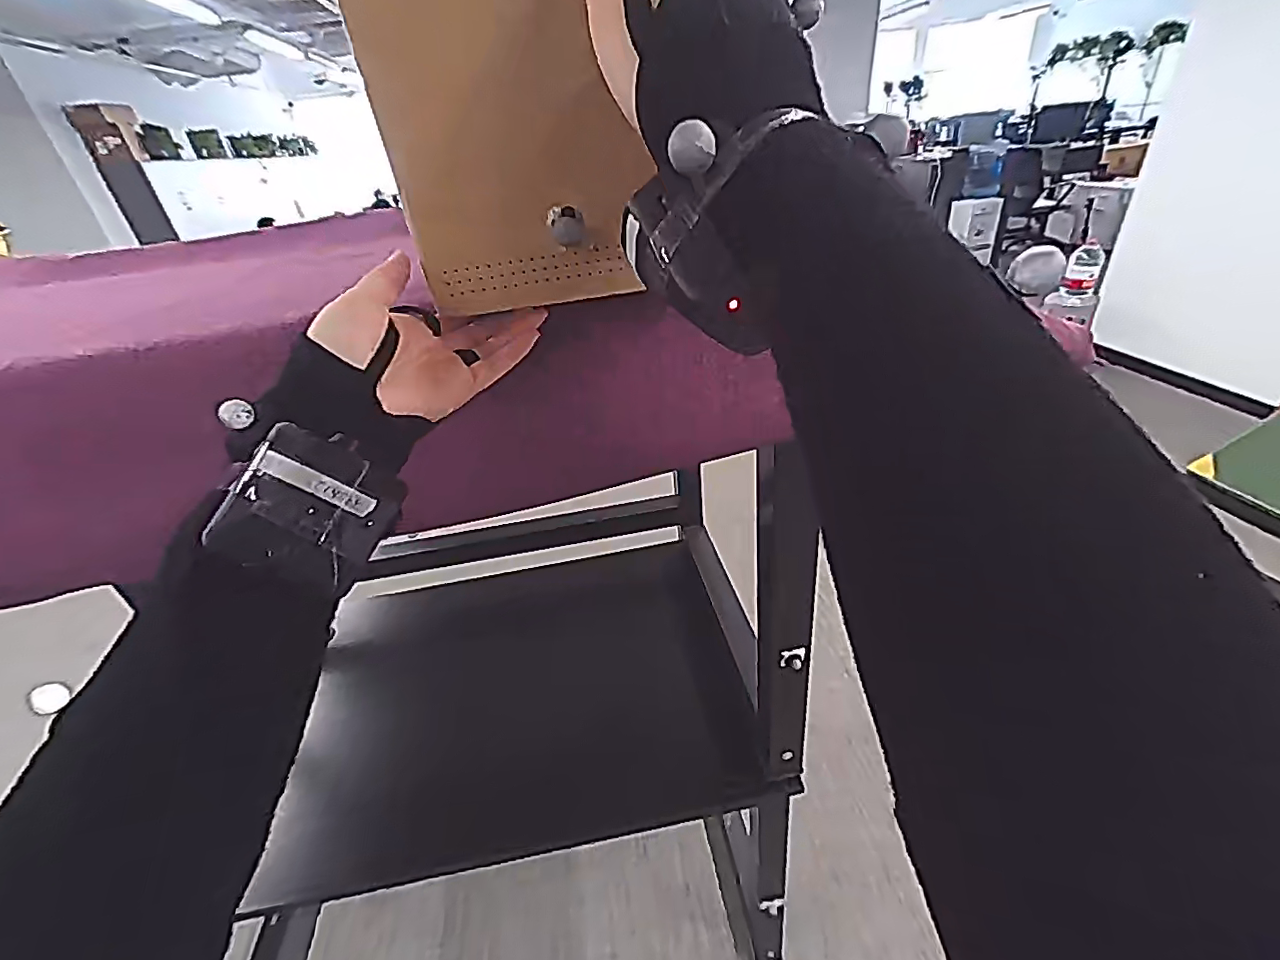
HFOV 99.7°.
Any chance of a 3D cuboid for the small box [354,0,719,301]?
[{"bbox_3d":[-0.048,-0.226,0.349,0.179,0.176,0.168,-8,31,-1],"label":"small box"}]
